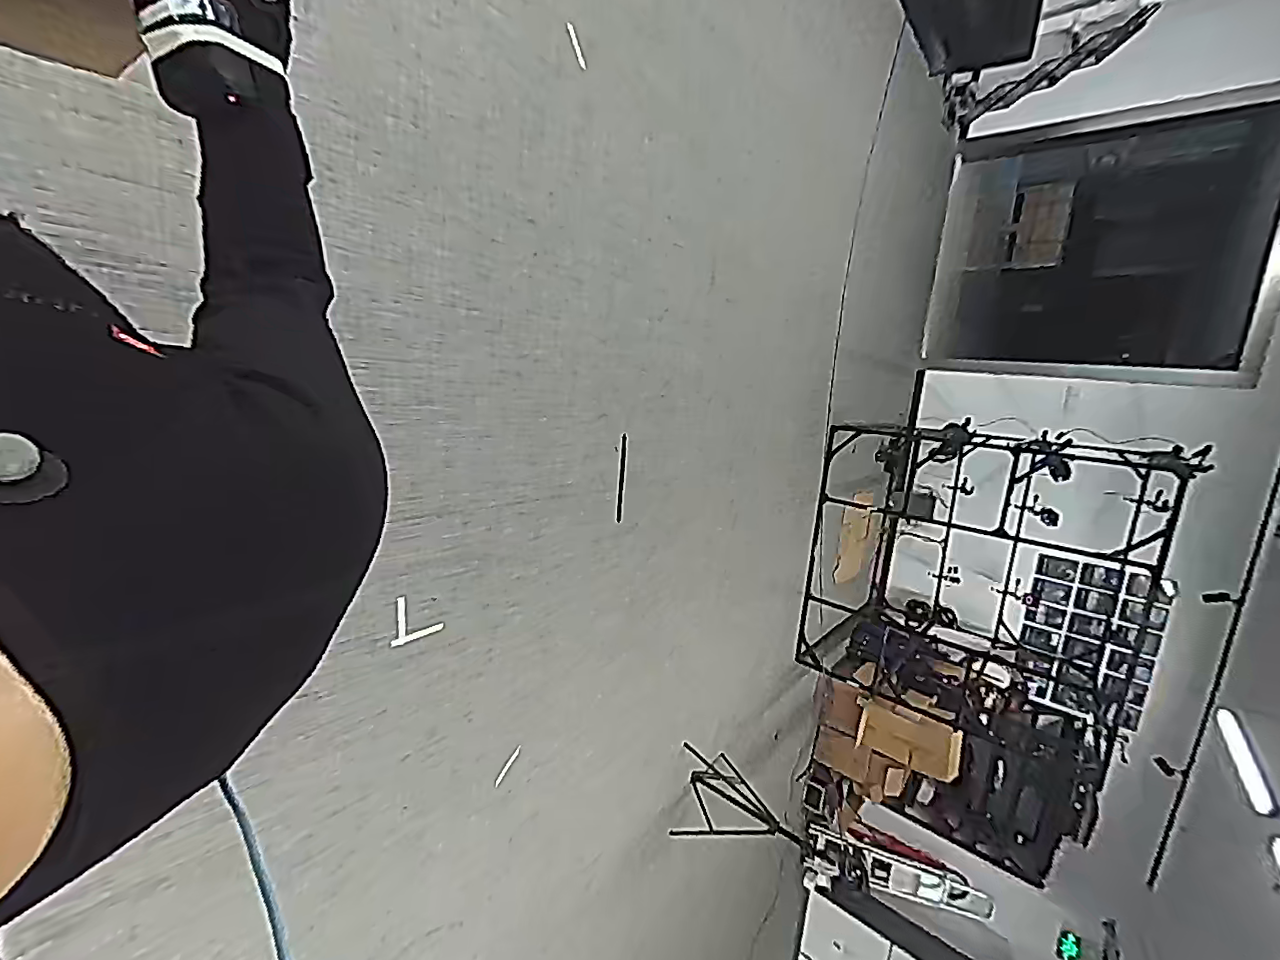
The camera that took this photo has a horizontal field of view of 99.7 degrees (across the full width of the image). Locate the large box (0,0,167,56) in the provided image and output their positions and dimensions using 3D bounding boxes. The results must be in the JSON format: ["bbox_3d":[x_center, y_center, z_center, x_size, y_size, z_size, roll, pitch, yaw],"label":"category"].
[{"bbox_3d":[-0.542,-0.499,0.275,0.408,0.320,0.320,-14,119,-49],"label":"large box"}]
